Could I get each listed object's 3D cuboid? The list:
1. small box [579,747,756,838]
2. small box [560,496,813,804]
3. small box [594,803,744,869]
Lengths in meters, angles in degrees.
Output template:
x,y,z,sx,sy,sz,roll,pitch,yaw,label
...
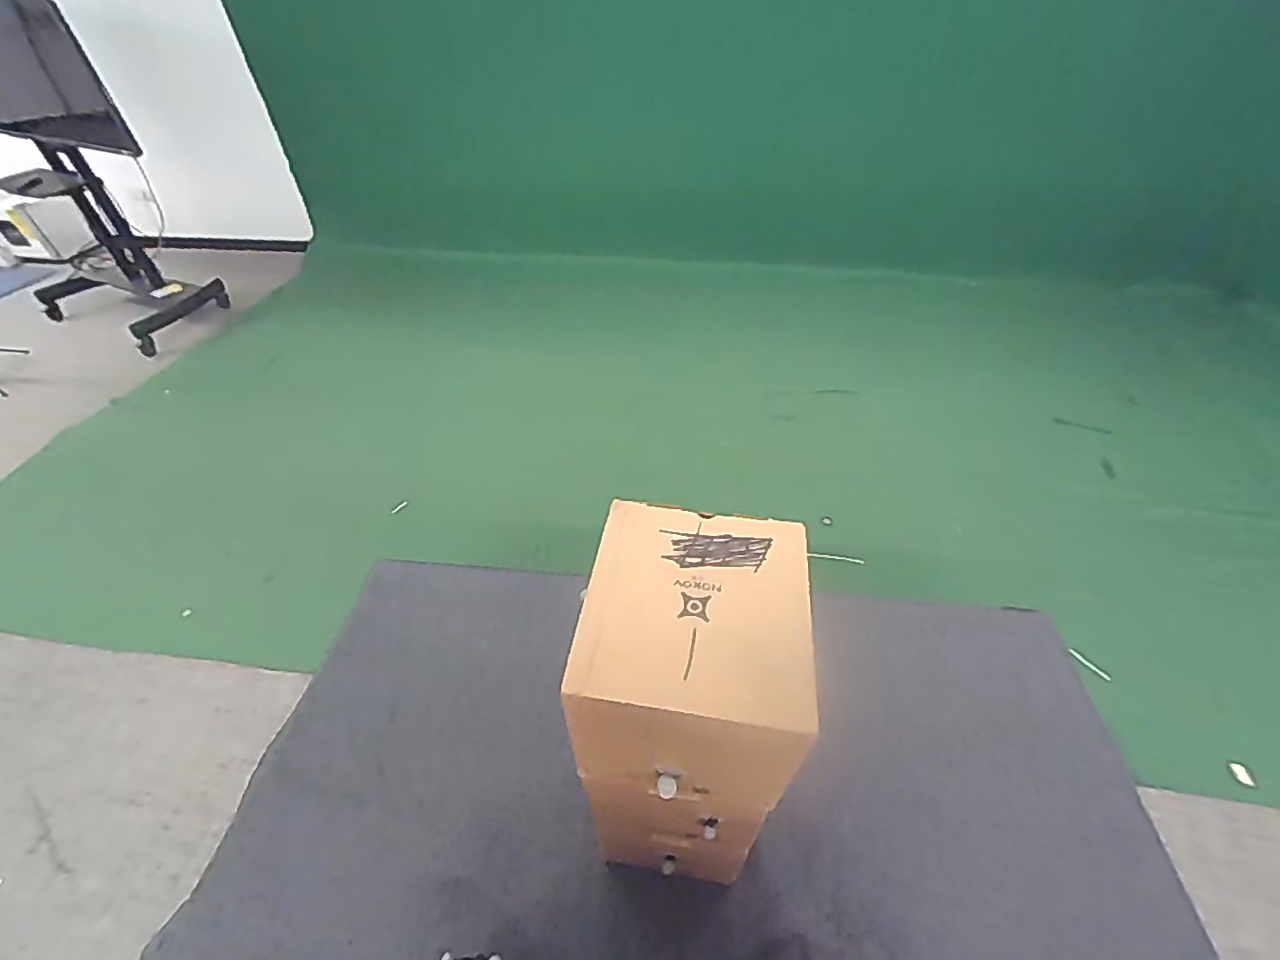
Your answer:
x,y,z,sx,sy,sz,roll,pitch,yaw,label
0.040,0.253,0.573,0.168,0.176,0.179,6,44,6,small box
0.041,0.141,0.453,0.168,0.176,0.179,7,47,7,small box
0.046,0.368,0.688,0.168,0.176,0.179,6,46,7,small box
